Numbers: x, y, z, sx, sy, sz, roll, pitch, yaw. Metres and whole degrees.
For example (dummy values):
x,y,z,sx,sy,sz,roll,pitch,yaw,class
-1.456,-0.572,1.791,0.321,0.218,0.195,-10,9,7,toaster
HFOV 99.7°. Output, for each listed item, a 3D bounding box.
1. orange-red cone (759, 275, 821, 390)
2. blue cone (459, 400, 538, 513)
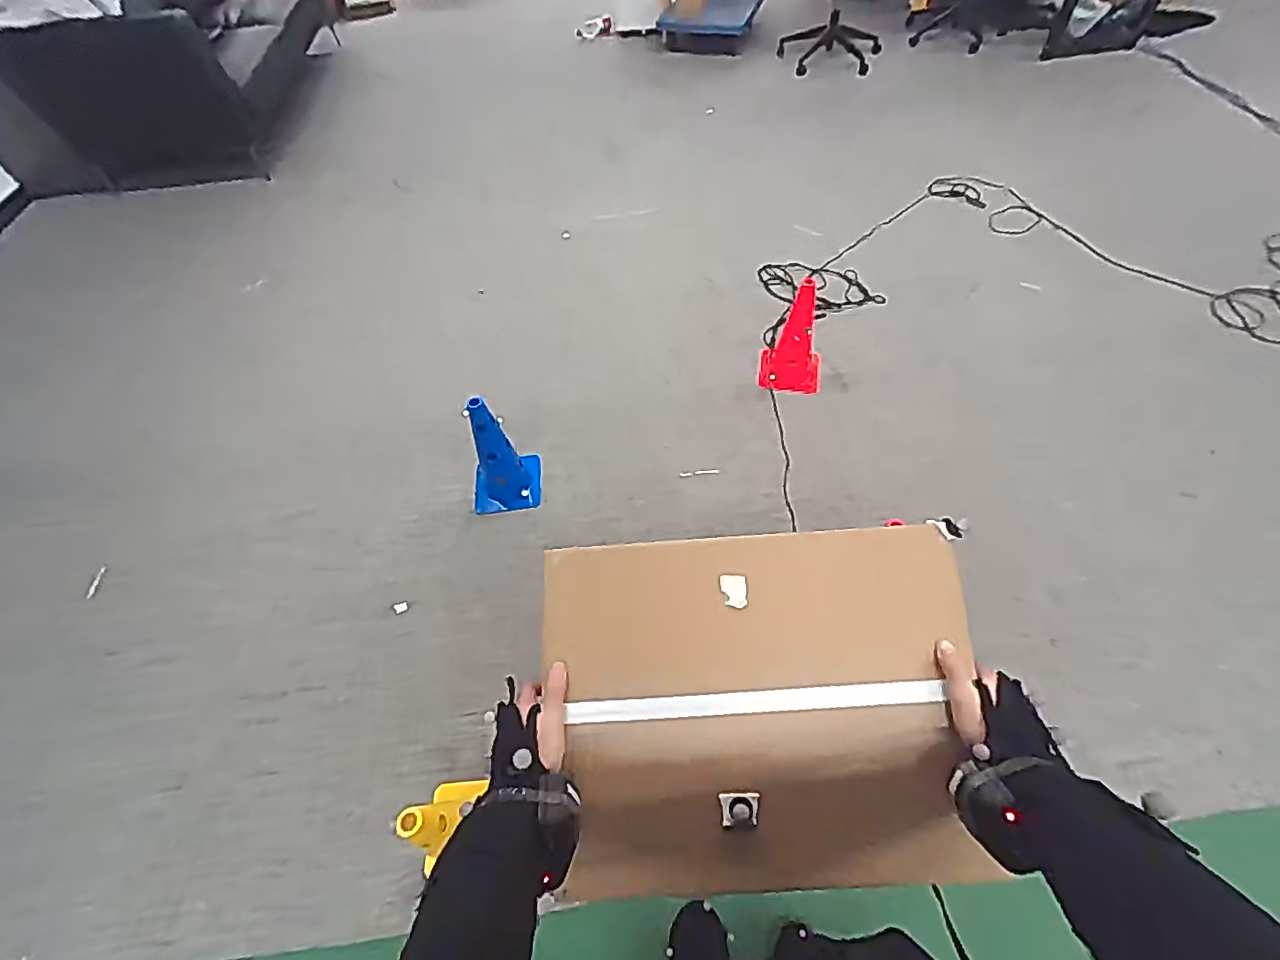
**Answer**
x,y,z,sx,sy,sz,roll,pitch,yaw,class
0.508,-0.486,1.718,0.199,0.360,0.198,10,56,10,orange-red cone
-0.419,-0.085,1.523,0.192,0.380,0.193,-7,53,0,blue cone
